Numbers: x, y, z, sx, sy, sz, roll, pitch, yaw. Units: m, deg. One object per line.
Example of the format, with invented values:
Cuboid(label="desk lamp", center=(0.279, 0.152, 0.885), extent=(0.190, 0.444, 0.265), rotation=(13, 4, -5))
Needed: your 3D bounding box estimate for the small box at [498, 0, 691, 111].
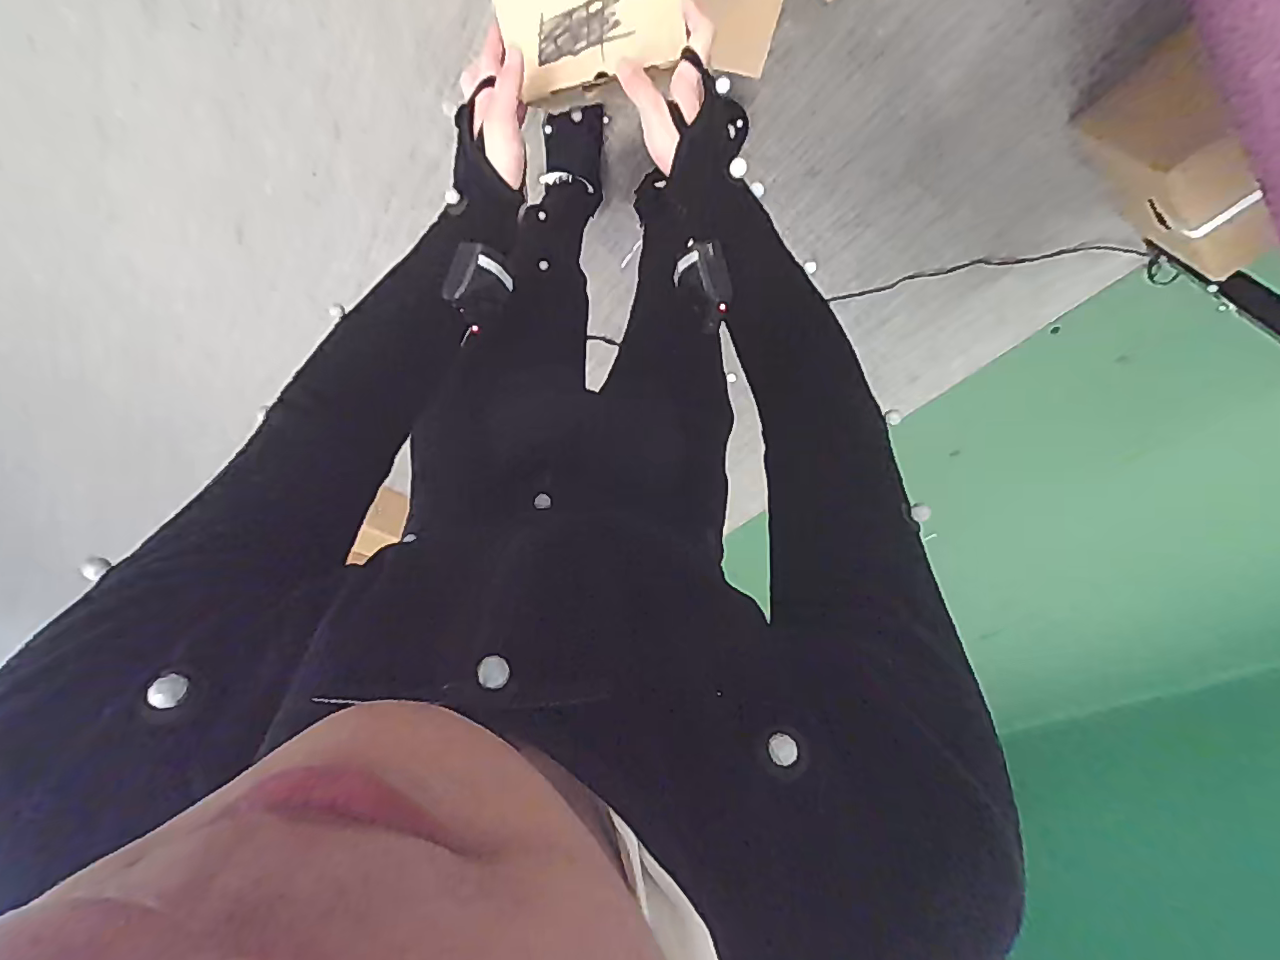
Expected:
Cuboid(label="small box", center=(-0.041, -0.479, 0.526), extent=(0.168, 0.176, 0.179), rotation=(-8, 118, 8))
